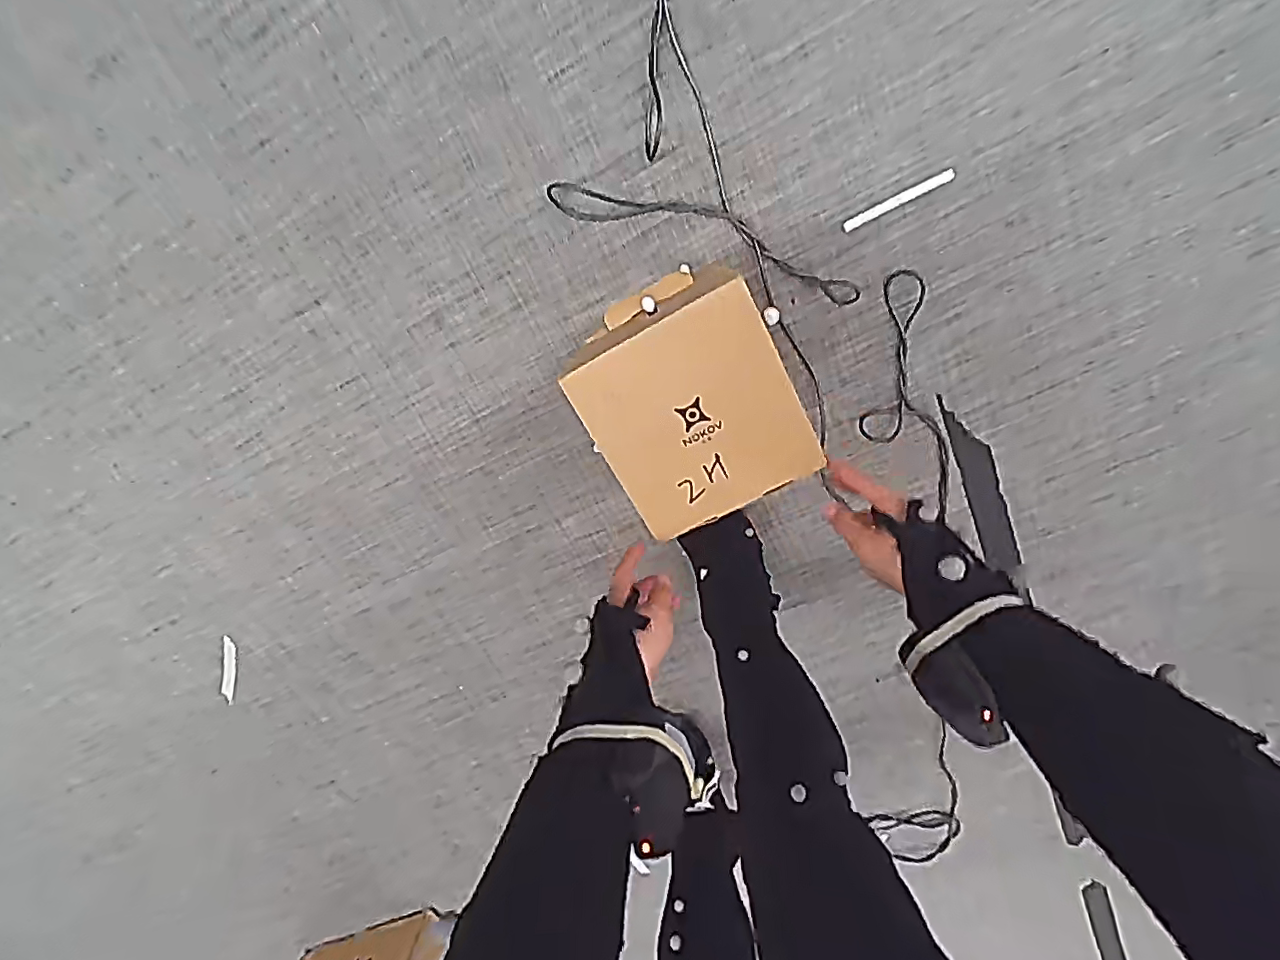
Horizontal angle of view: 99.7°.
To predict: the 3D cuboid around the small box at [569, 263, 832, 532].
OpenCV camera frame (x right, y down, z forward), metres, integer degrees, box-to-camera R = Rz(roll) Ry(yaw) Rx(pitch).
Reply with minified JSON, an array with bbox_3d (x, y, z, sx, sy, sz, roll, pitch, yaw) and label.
[{"bbox_3d":[0.054,-0.086,0.519,0.168,0.176,0.179,-26,109,13],"label":"small box"}]
